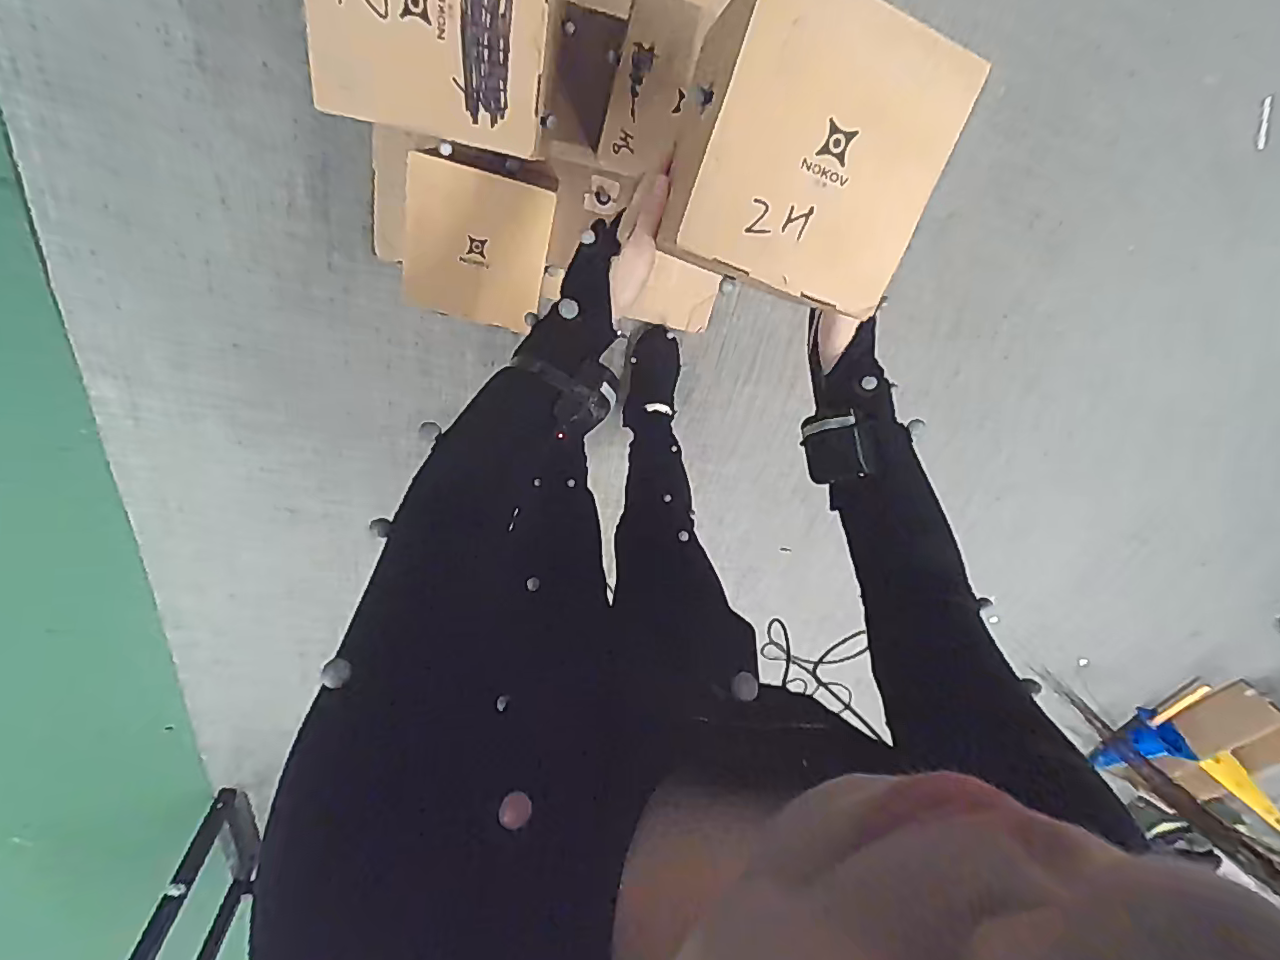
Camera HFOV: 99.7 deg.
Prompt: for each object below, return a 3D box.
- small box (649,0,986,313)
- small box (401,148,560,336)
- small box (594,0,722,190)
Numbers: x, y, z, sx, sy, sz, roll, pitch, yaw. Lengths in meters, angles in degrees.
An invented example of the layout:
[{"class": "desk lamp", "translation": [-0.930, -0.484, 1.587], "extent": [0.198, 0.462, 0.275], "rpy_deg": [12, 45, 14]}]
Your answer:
[{"class": "small box", "translation": [0.116, -0.255, 0.437], "extent": [0.168, 0.176, 0.179], "rpy_deg": [15, 110, -15]}, {"class": "small box", "translation": [-0.203, -0.315, 0.709], "extent": [0.168, 0.176, 0.179], "rpy_deg": [10, 122, -14]}, {"class": "small box", "translation": [0.049, -0.444, 0.656], "extent": [0.179, 0.176, 0.168], "rpy_deg": [14, 120, -13]}]
